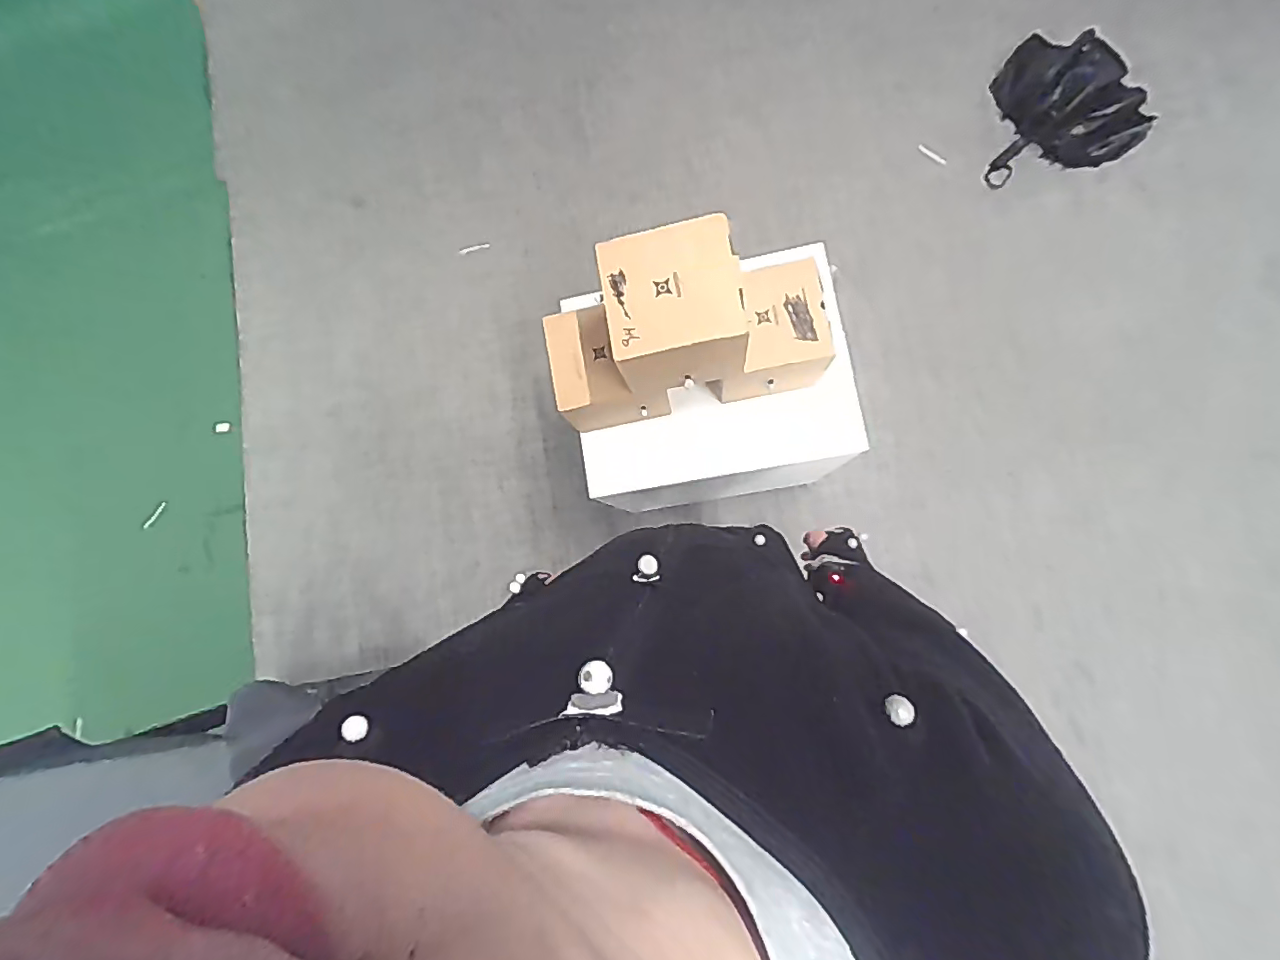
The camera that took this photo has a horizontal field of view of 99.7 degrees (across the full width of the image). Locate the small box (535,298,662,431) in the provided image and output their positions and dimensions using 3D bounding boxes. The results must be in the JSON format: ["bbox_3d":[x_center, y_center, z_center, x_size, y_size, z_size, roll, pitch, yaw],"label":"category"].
[{"bbox_3d":[-0.061,-0.194,0.925,0.179,0.176,0.168,-12,81,5],"label":"small box"}]

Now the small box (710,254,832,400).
[{"bbox_3d":[0.199,-0.244,0.902,0.179,0.176,0.168,-10,82,6],"label":"small box"}]

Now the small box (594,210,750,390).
[{"bbox_3d":[0.045,-0.237,0.753,0.179,0.176,0.168,-10,82,5],"label":"small box"}]
